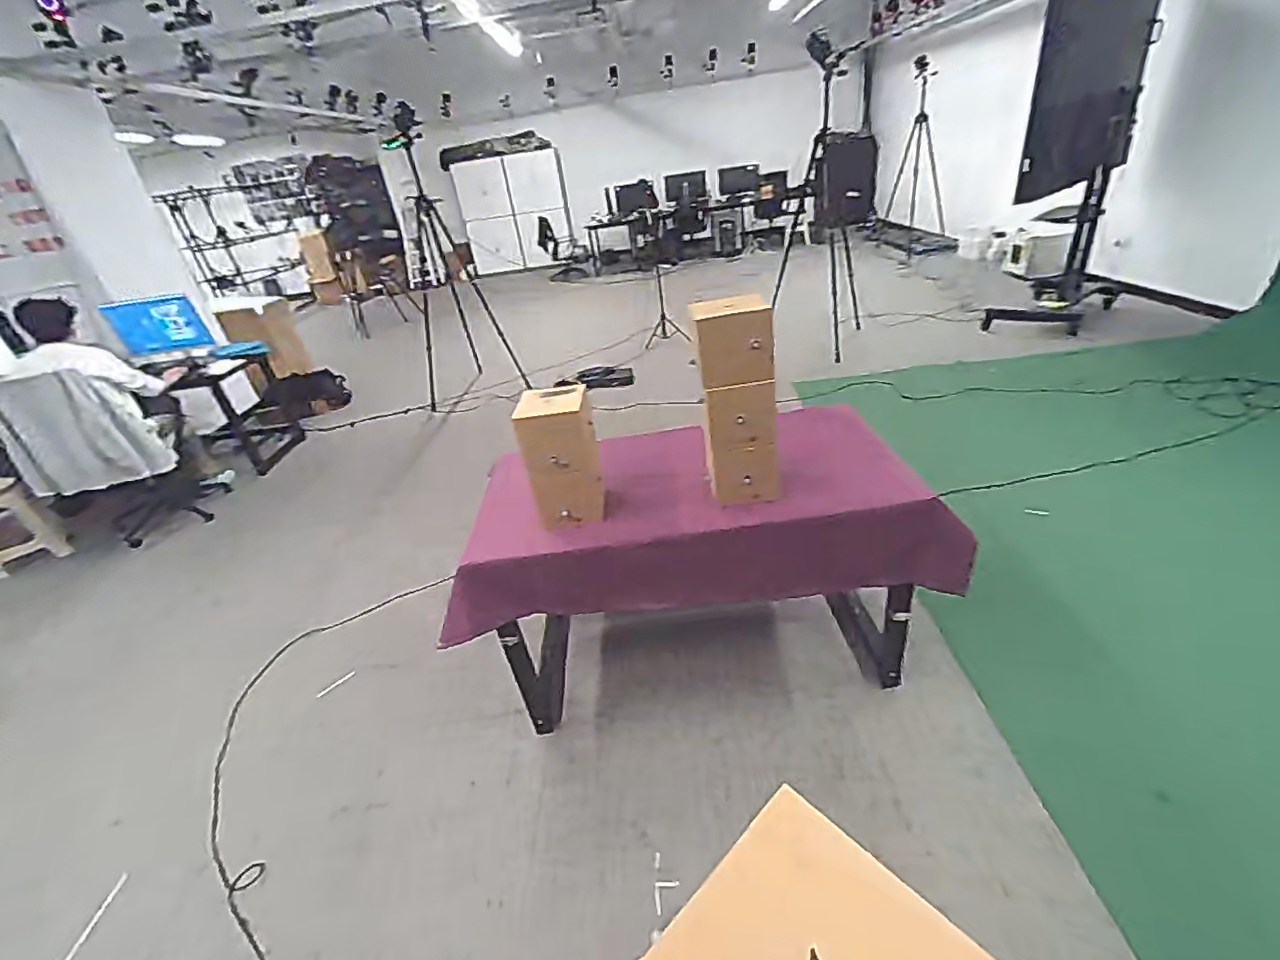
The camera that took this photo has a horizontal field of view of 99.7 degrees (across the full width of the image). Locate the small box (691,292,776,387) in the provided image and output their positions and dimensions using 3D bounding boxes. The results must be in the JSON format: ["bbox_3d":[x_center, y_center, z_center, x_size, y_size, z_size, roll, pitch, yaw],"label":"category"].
[{"bbox_3d":[0.222,-0.337,1.293,0.179,0.176,0.168,-9,29,3],"label":"small box"}]

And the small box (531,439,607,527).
[{"bbox_3d":[-0.186,0.007,1.477,0.168,0.176,0.179,-7,32,4],"label":"small box"}]

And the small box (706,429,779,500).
[{"bbox_3d":[0.276,-0.056,1.455,0.168,0.176,0.179,-7,31,3],"label":"small box"}]

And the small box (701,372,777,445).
[{"bbox_3d":[0.249,-0.196,1.371,0.168,0.176,0.179,-8,30,2],"label":"small box"}]
